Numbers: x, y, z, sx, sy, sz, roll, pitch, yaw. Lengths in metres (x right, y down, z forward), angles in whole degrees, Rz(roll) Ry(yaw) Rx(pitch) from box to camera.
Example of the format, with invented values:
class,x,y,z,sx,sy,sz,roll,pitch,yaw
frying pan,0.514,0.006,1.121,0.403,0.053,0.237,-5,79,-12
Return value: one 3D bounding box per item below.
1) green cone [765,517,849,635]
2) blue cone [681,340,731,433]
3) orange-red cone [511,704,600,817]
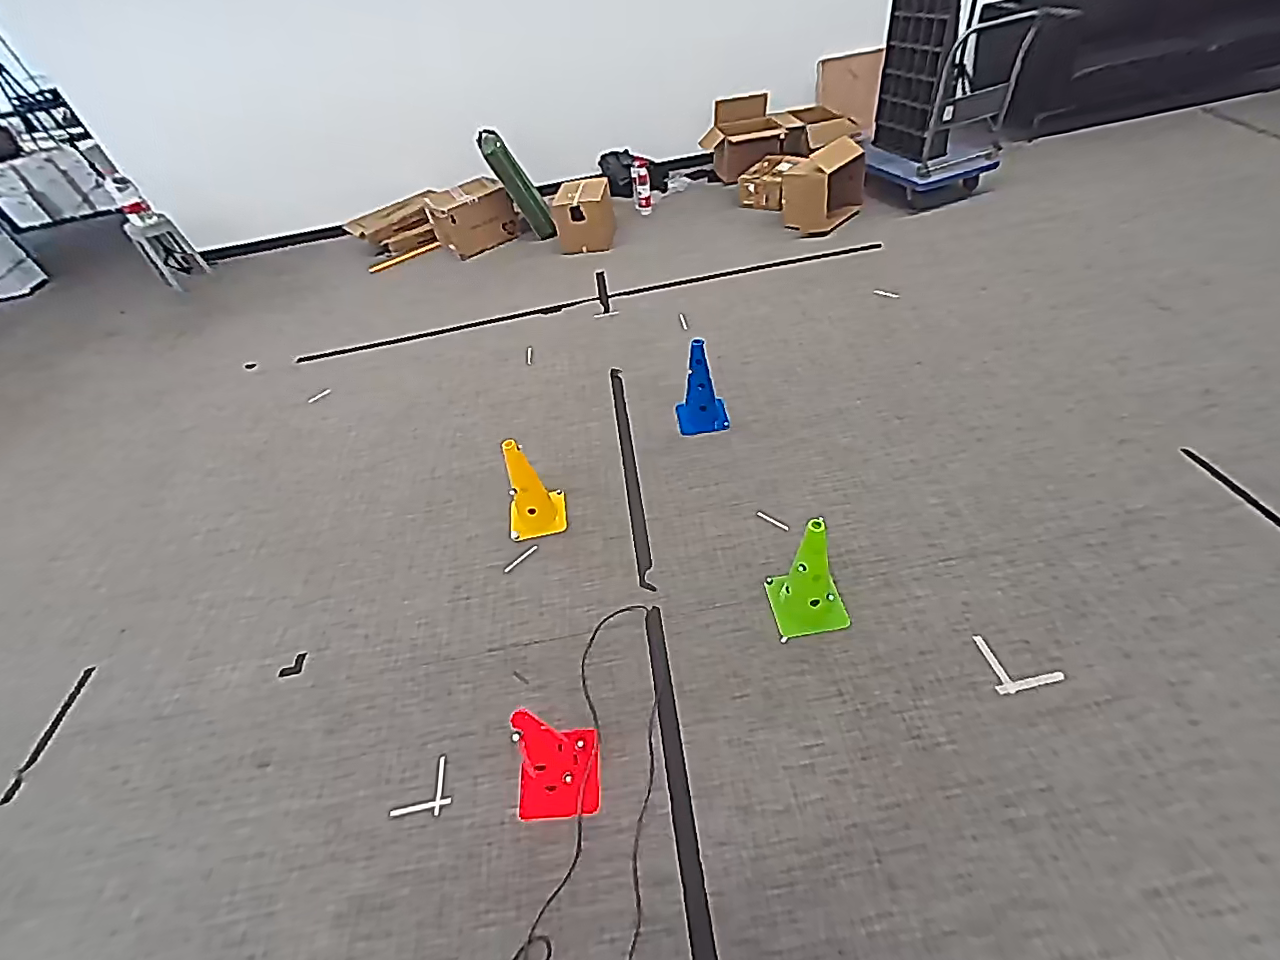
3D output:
class,x,y,z,sx,sy,sz,roll,pitch,yaw
green cone,0.463,0.234,1.457,0.202,0.368,0.200,-9,45,0
blue cone,0.248,-0.374,2.113,0.192,0.380,0.193,-7,46,3
orange-red cone,-0.226,0.604,1.230,0.199,0.360,0.198,-8,44,5
